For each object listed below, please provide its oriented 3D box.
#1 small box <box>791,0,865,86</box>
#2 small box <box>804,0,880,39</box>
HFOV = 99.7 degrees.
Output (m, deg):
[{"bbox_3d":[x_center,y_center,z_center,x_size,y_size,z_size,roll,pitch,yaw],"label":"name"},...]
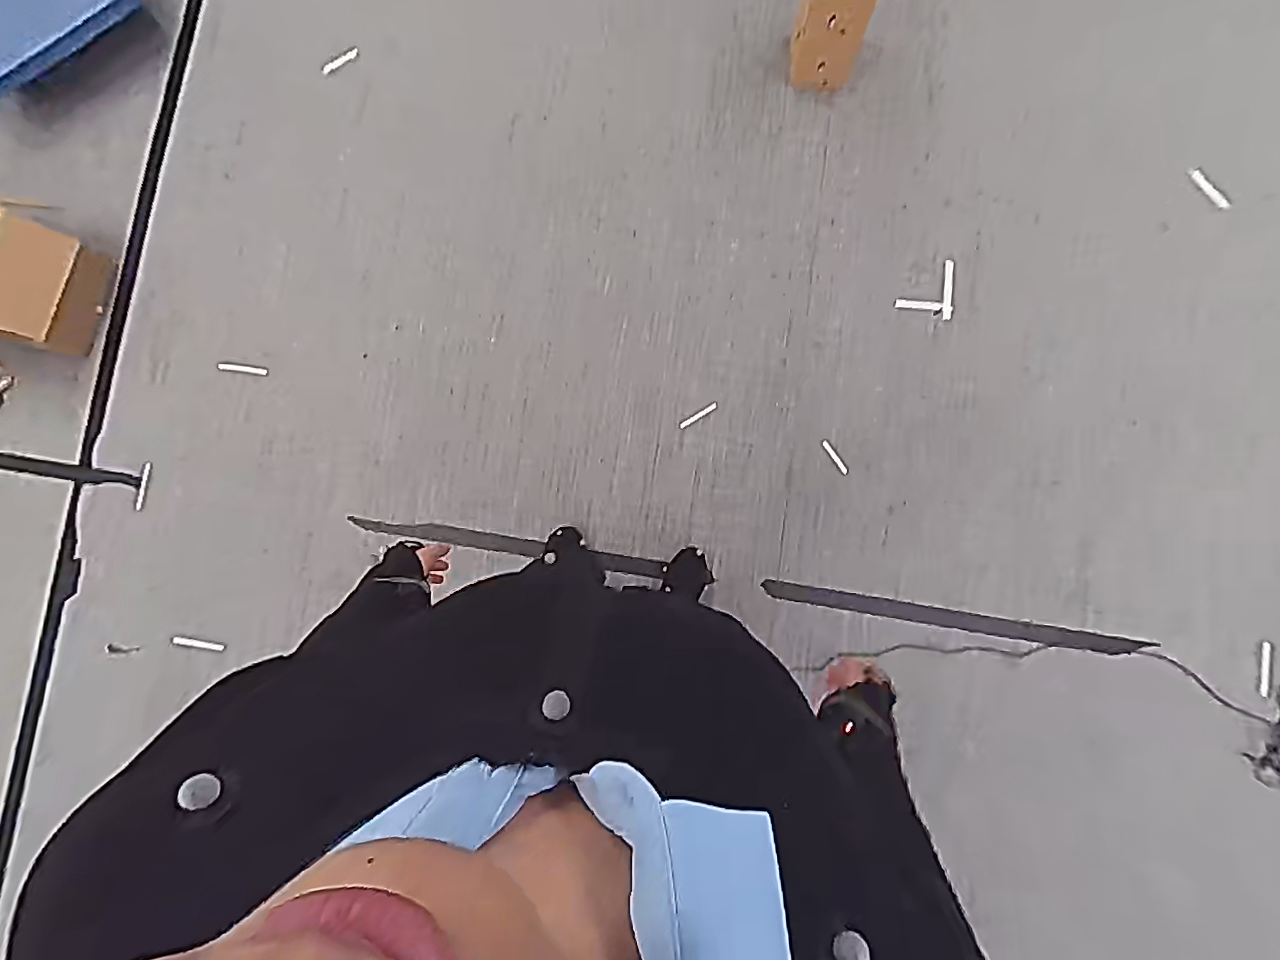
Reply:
[{"bbox_3d":[0.531,-1.261,1.534,0.168,0.176,0.179,4,84,3],"label":"small box"},{"bbox_3d":[0.523,-1.277,1.372,0.168,0.176,0.179,5,86,3],"label":"small box"}]
